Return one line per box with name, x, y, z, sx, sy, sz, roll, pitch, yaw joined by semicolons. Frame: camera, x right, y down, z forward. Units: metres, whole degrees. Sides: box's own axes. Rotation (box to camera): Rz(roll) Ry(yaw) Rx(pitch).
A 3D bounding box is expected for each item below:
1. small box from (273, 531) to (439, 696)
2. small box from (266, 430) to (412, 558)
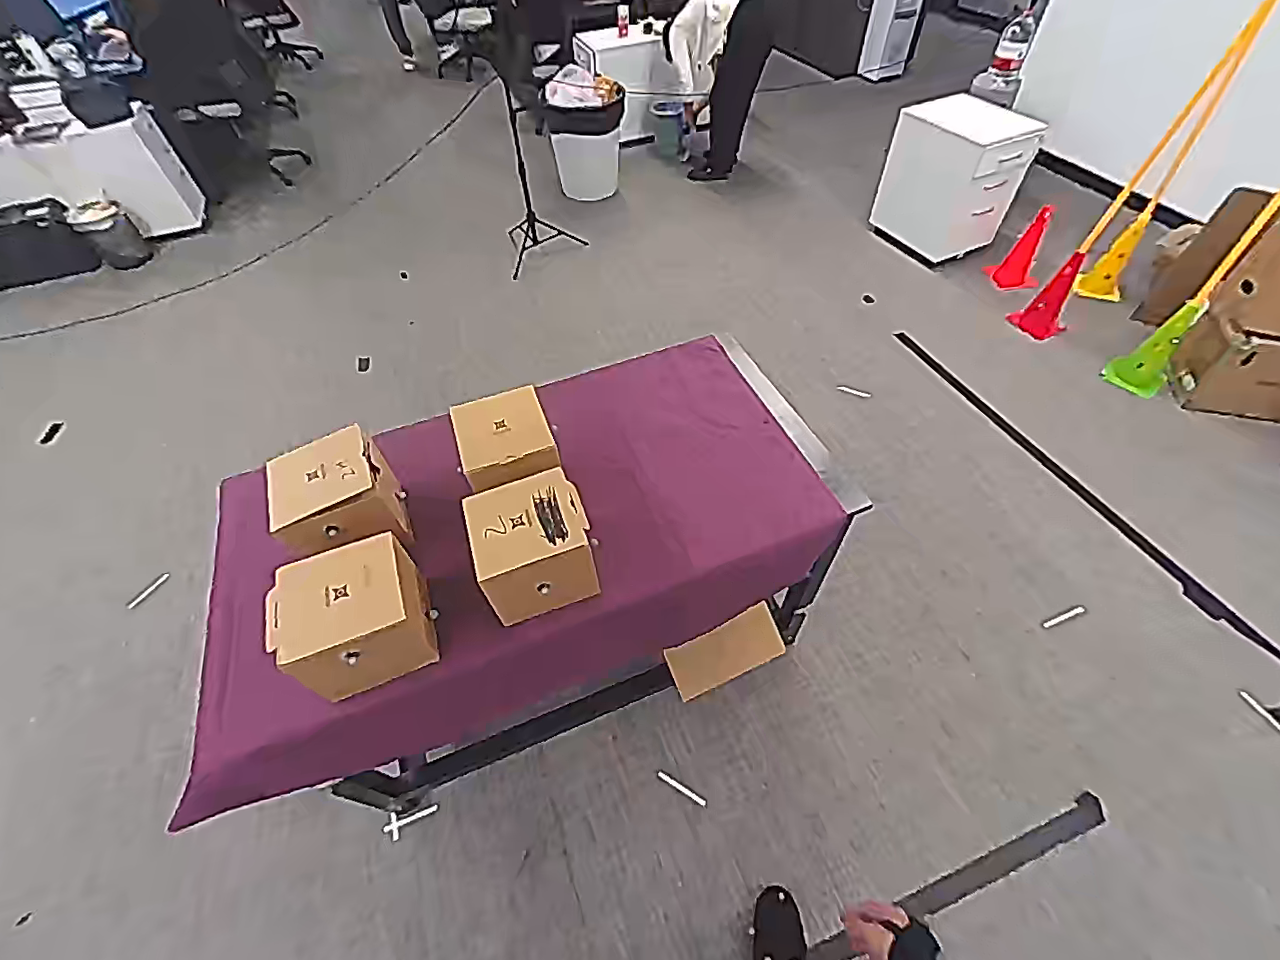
small box;-0.441;0.214;0.854;0.179;0.176;0.168;-19;54;-13
small box;-0.545;0.043;0.989;0.179;0.176;0.168;-20;55;-14
